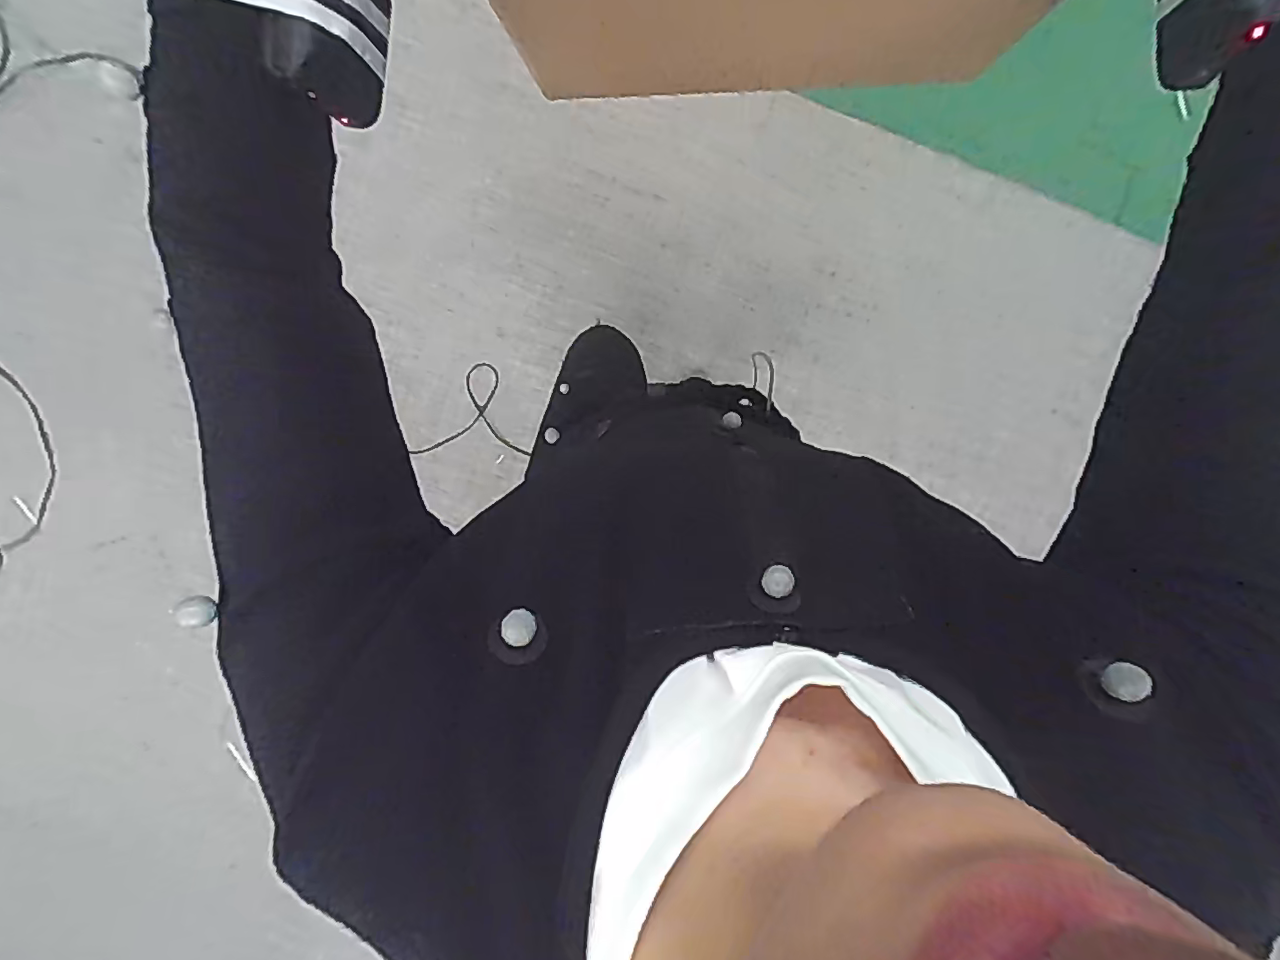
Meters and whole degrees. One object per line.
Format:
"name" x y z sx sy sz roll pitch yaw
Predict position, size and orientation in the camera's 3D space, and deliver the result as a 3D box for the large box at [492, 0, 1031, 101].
"large box" 0.086 -0.484 0.334 0.408 0.320 0.320 0 105 4
